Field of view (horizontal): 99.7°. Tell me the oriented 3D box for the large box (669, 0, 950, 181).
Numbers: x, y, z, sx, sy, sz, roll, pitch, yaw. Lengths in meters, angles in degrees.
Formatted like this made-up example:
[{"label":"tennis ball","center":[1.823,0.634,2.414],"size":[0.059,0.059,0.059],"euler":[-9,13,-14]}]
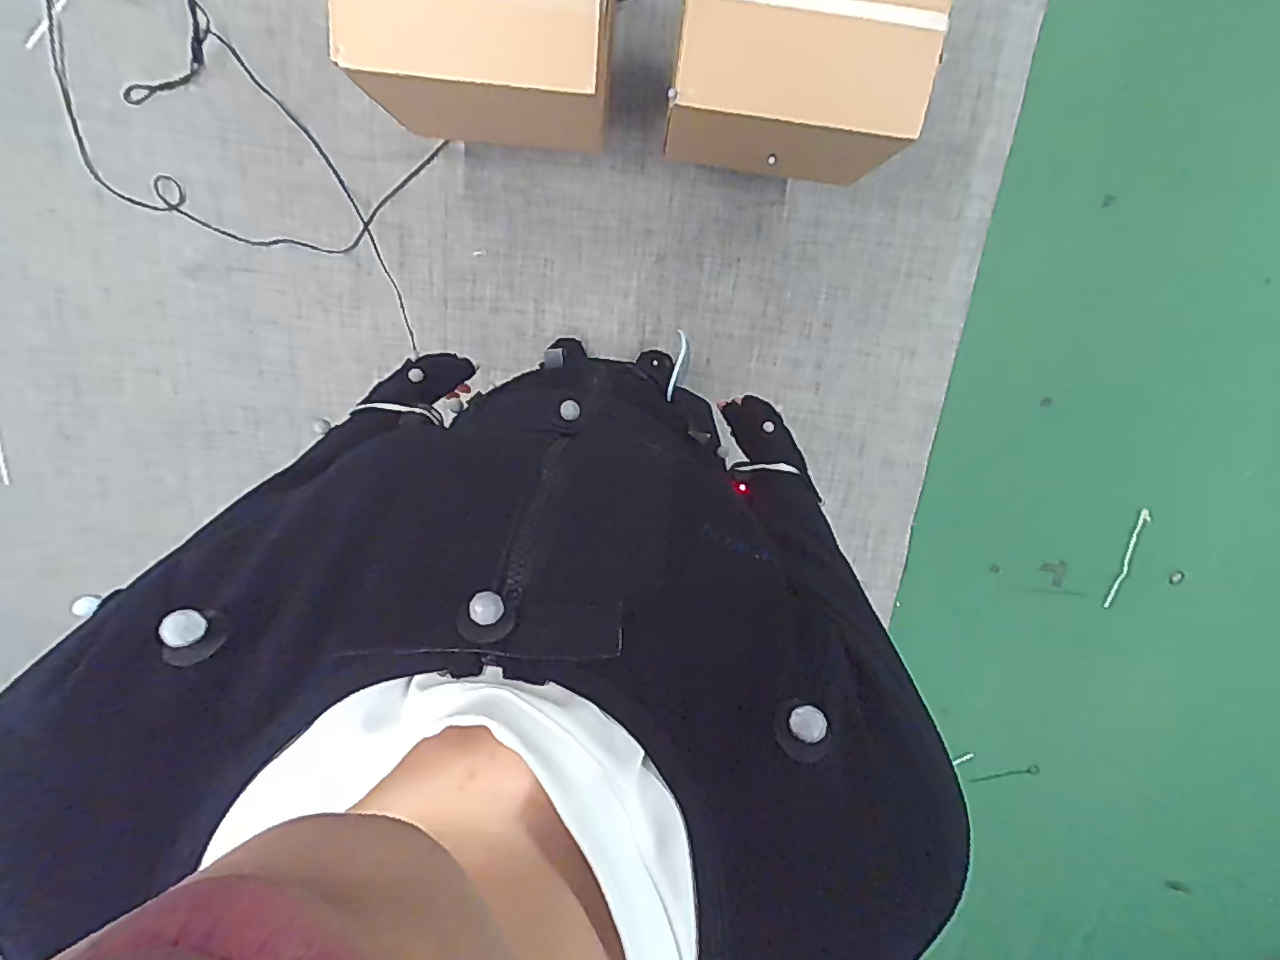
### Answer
[{"label":"large box","center":[0.278,-0.767,0.982],"size":[0.408,0.320,0.320],"euler":[7,106,-2]}]
